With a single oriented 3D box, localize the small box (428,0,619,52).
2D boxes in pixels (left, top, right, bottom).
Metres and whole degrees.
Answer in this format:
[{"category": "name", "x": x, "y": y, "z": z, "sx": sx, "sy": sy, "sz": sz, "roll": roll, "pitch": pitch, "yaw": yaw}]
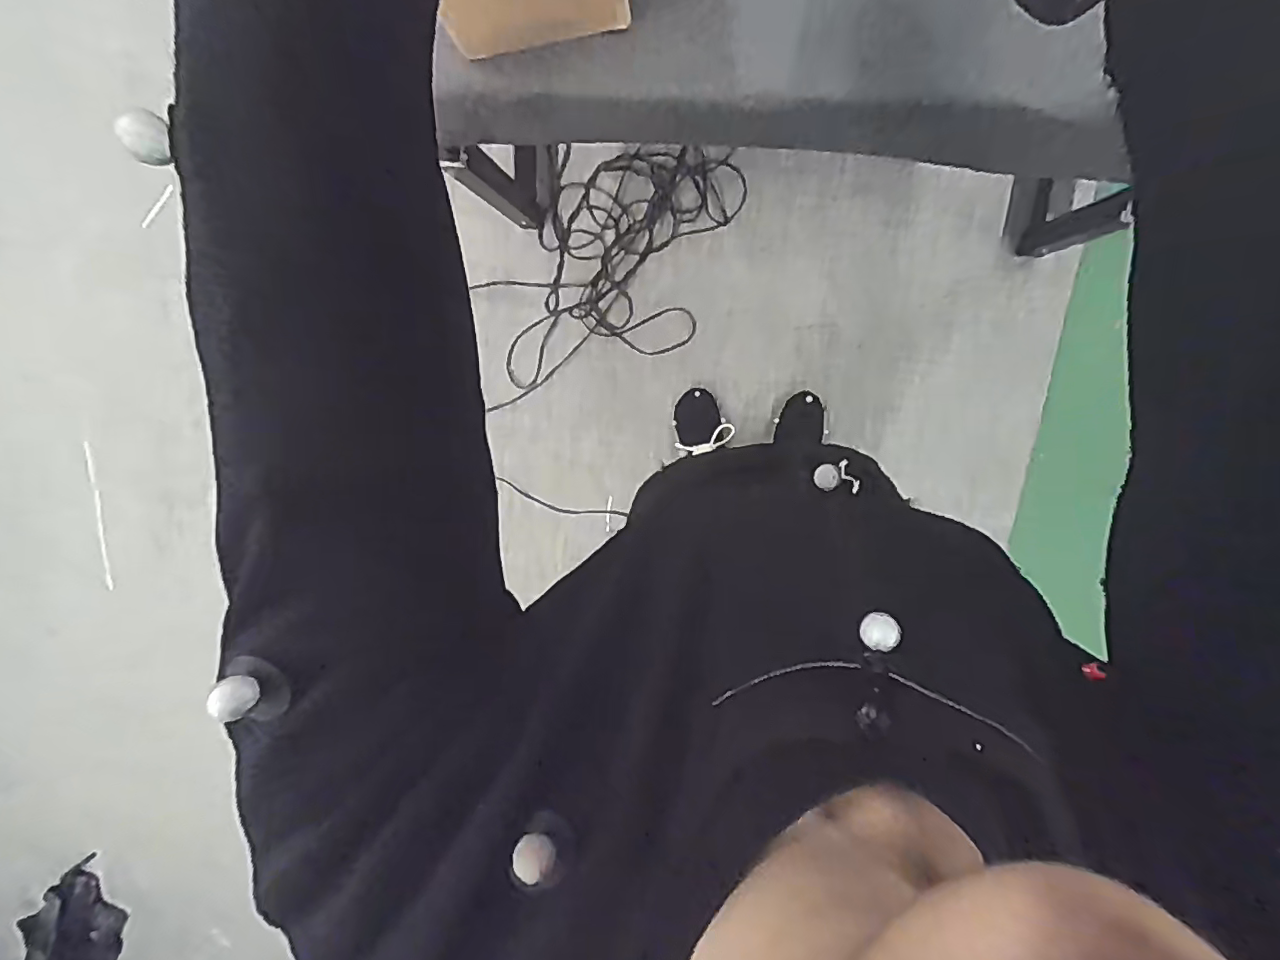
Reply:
[{"category": "small box", "x": -0.112, "y": -0.508, "z": 0.455, "sx": 0.179, "sy": 0.176, "sz": 0.168, "roll": -5, "pitch": 100, "yaw": 7}]
